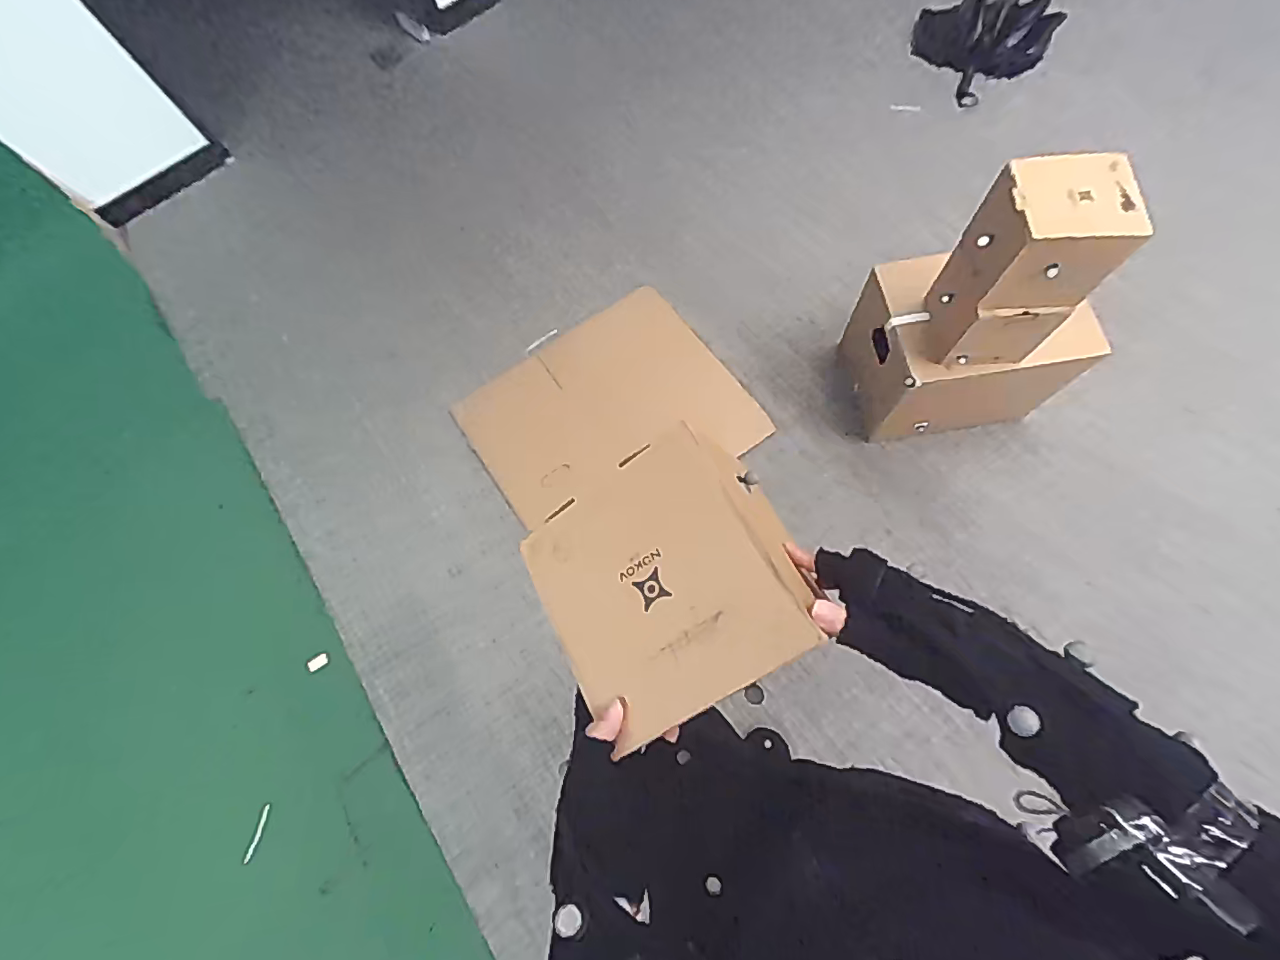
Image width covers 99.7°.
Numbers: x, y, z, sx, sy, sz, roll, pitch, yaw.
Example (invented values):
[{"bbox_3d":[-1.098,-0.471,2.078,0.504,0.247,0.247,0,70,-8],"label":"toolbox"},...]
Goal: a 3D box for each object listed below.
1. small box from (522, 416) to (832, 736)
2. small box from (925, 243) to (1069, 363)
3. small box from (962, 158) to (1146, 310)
[{"bbox_3d":[0.038,0.080,0.454,0.168,0.176,0.179,-35,67,15],"label":"small box"},{"bbox_3d":[0.688,-0.343,1.066,0.168,0.176,0.179,-2,70,5],"label":"small box"},{"bbox_3d":[0.678,-0.408,0.918,0.179,0.176,0.168,-3,69,4],"label":"small box"}]
